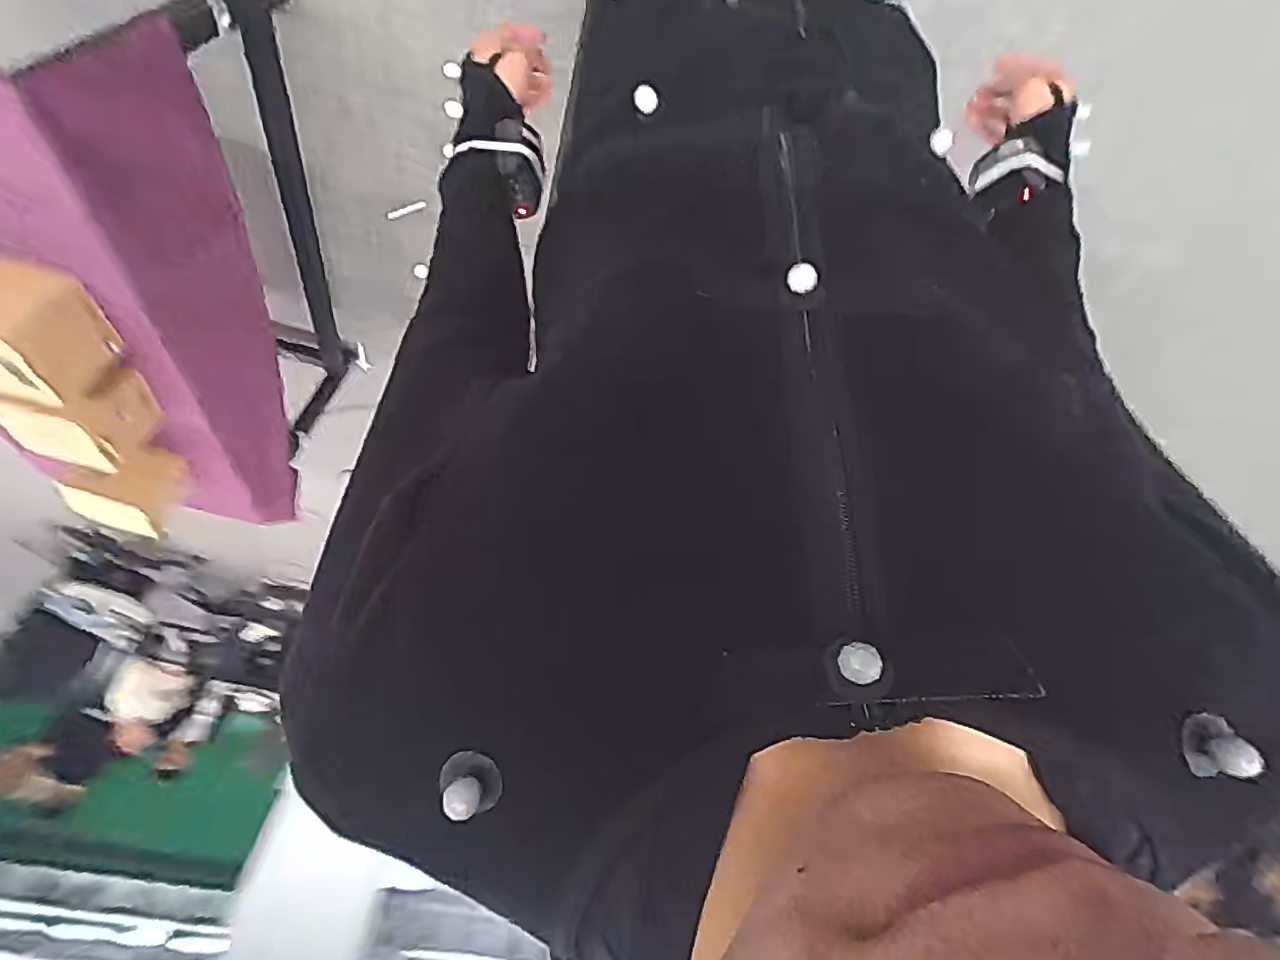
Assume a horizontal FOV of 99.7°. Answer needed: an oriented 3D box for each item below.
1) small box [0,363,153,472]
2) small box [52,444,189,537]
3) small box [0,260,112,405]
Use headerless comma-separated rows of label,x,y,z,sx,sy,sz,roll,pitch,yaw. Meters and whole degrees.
small box,-1.173,-0.148,1.128,0.179,0.176,0.168,18,142,-13
small box,-1.300,0.015,1.369,0.179,0.176,0.168,22,142,-18
small box,-1.103,-0.265,0.954,0.179,0.176,0.168,15,143,-6
